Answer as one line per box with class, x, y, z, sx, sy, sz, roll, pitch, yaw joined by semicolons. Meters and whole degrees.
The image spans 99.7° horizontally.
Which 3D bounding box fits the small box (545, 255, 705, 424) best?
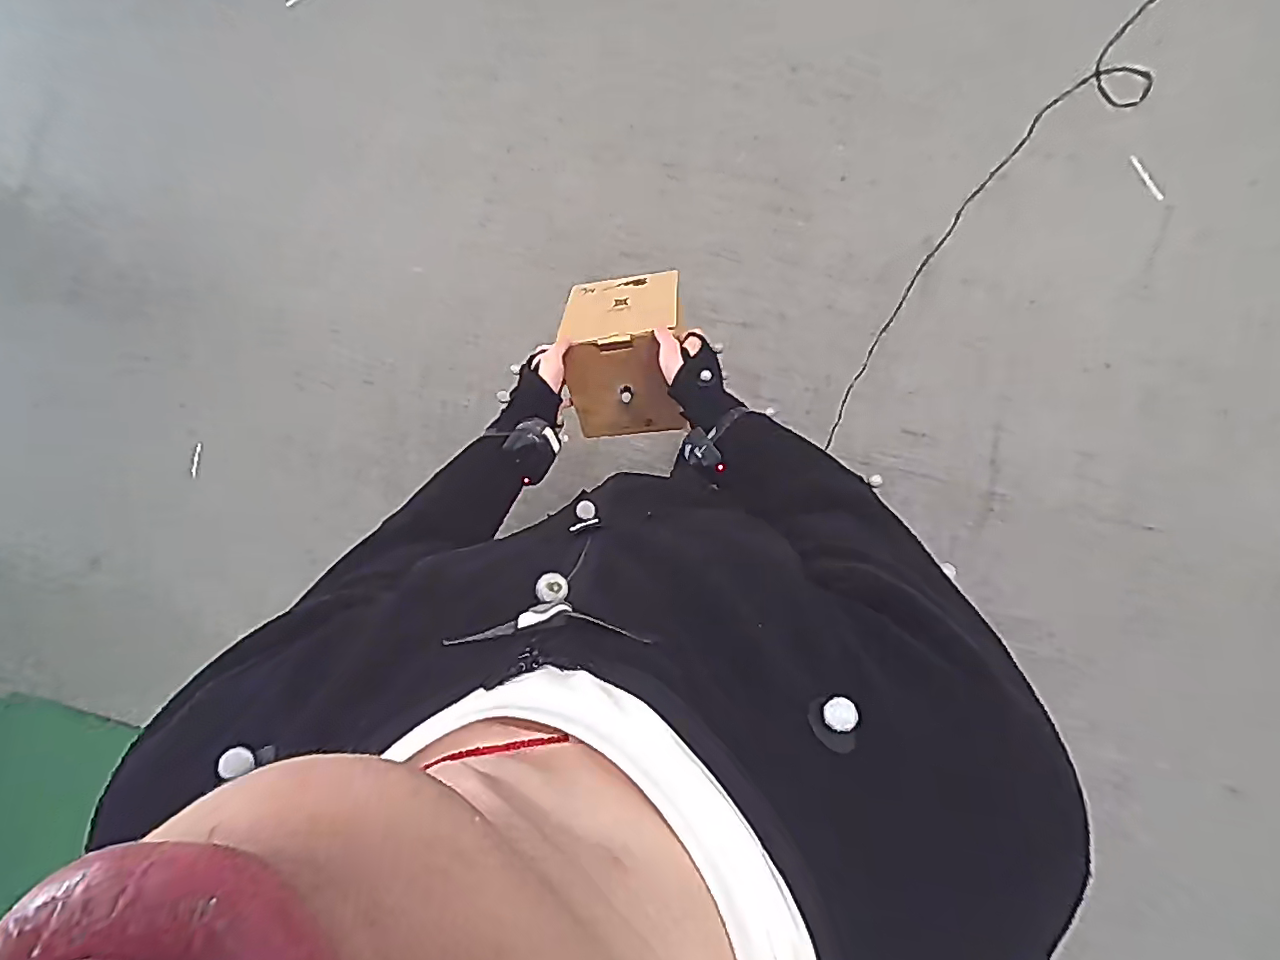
small box;-0.018;-0.212;0.823;0.179;0.168;0.176;-26;134;-12
